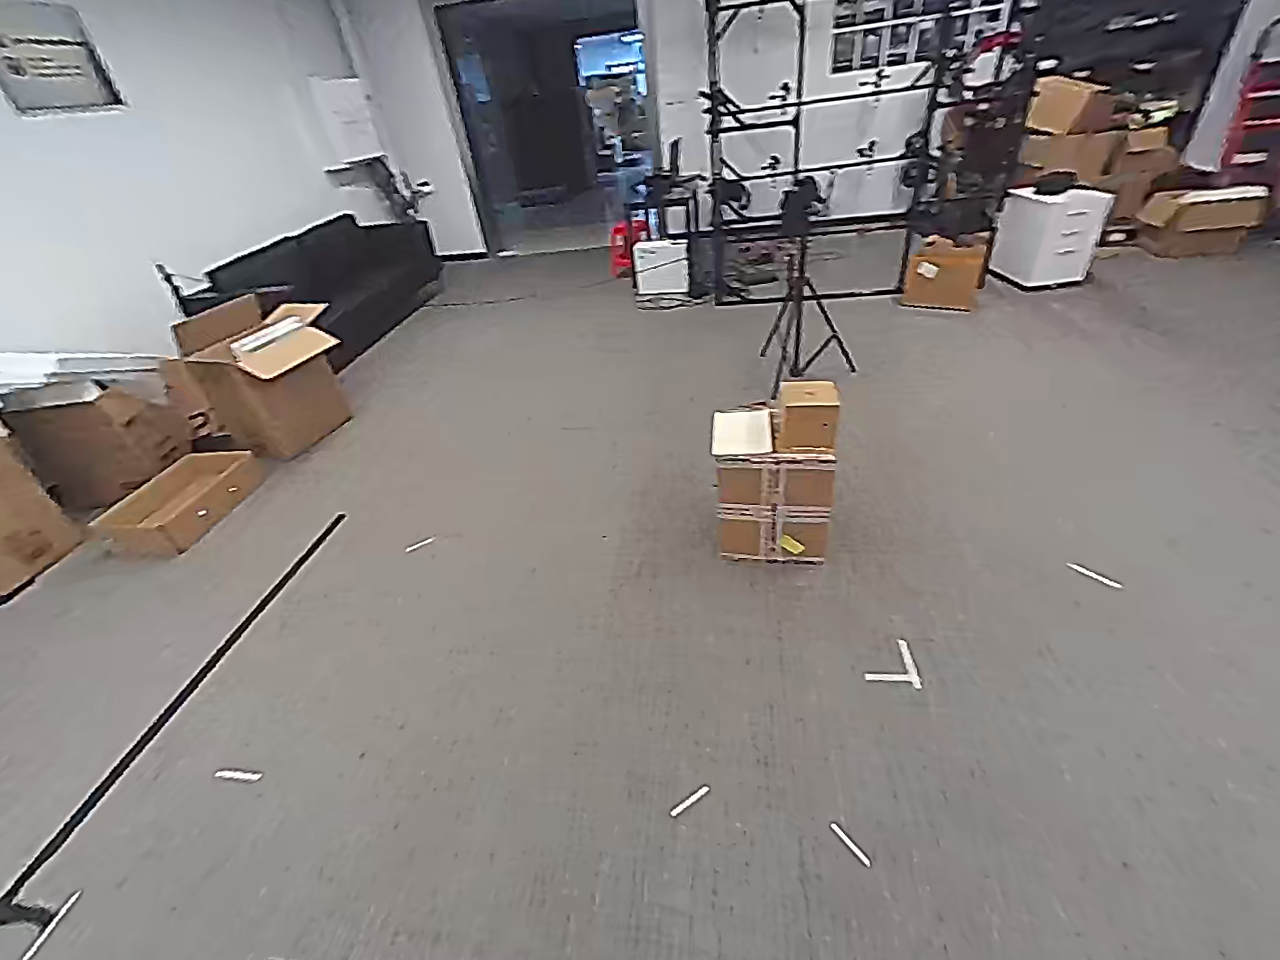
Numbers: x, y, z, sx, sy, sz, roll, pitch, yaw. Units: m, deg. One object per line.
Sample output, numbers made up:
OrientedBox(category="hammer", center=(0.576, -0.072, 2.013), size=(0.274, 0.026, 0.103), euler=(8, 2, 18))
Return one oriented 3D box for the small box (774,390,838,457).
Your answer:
OrientedBox(category="small box", center=(0.555, -0.190, 1.828), size=(0.179, 0.176, 0.168), euler=(-1, 38, 8))
